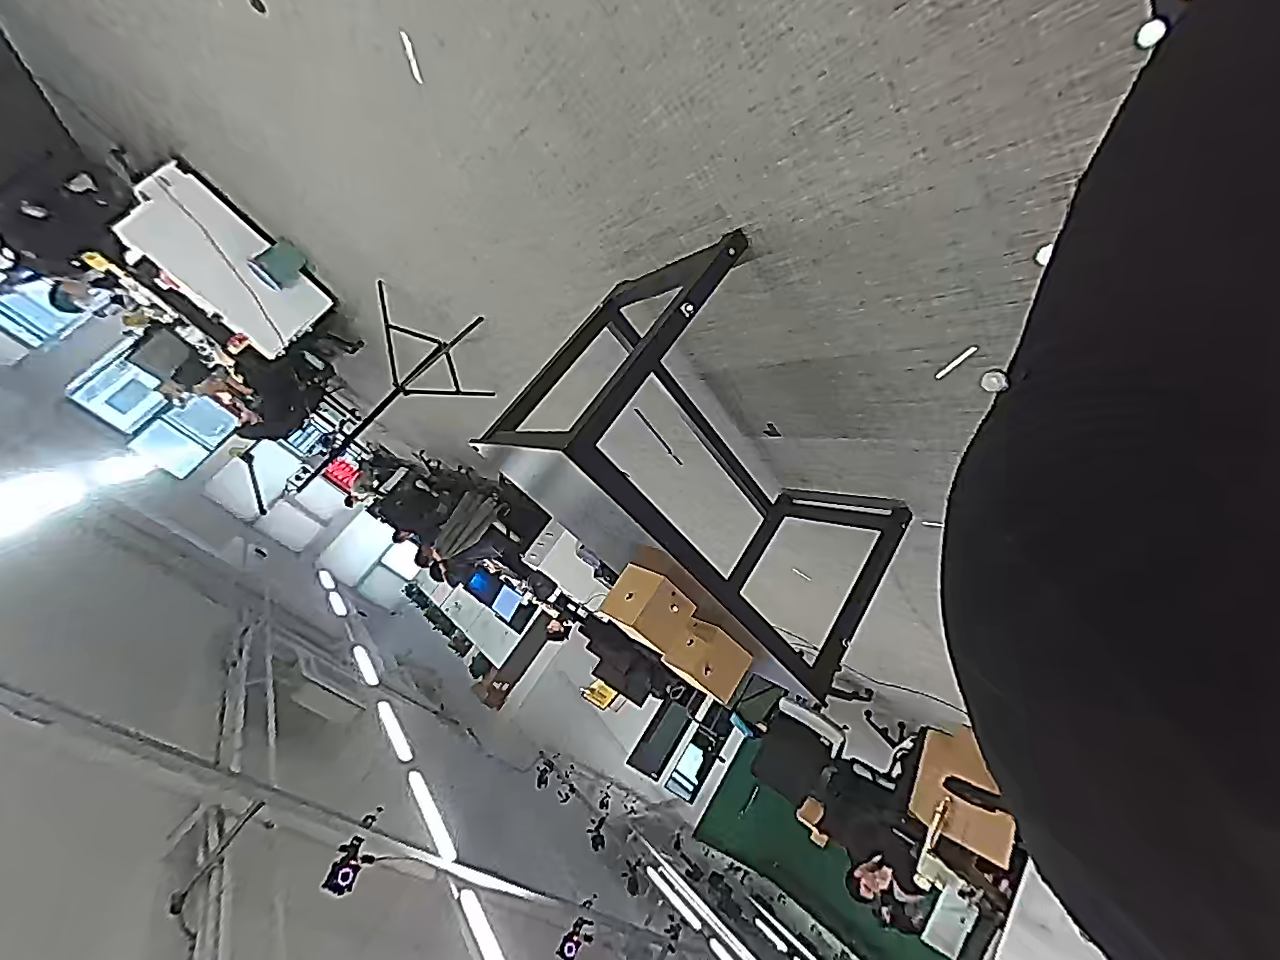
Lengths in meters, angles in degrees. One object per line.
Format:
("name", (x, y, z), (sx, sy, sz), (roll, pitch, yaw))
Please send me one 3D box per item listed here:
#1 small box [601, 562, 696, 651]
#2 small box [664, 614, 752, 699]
("small box", (0.027, 0.359, 1.564), (0.168, 0.176, 0.179), (46, 159, -30))
("small box", (0.214, 0.543, 1.688), (0.179, 0.176, 0.168), (43, 161, -22))
